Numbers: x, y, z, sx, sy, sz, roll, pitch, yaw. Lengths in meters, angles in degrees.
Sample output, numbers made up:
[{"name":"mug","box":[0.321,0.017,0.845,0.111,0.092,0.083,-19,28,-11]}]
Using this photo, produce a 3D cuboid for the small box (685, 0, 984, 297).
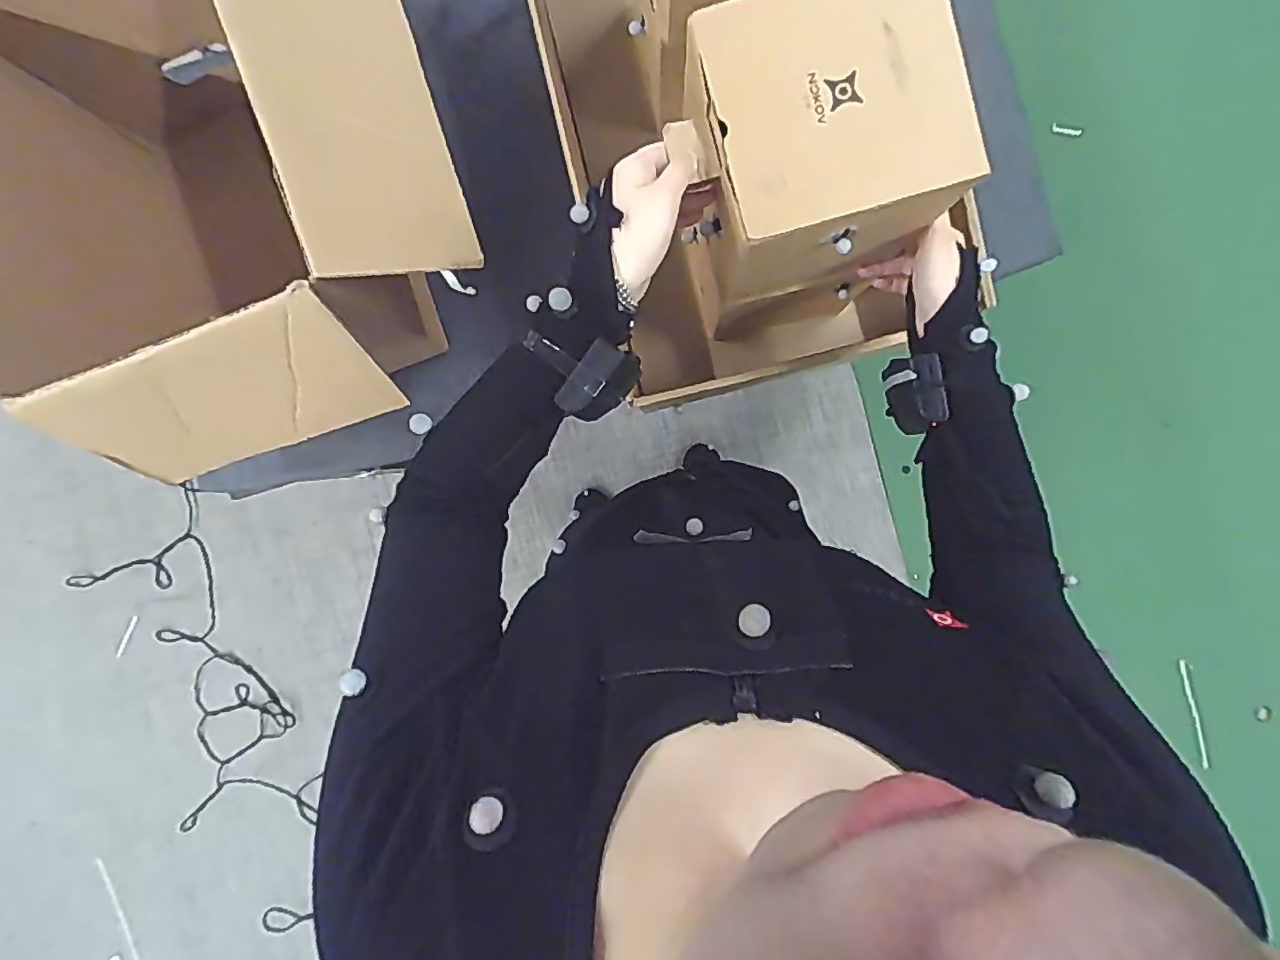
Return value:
[{"name":"small box","box":[0.140,-0.274,0.457,0.179,0.176,0.168,-15,93,3]}]
